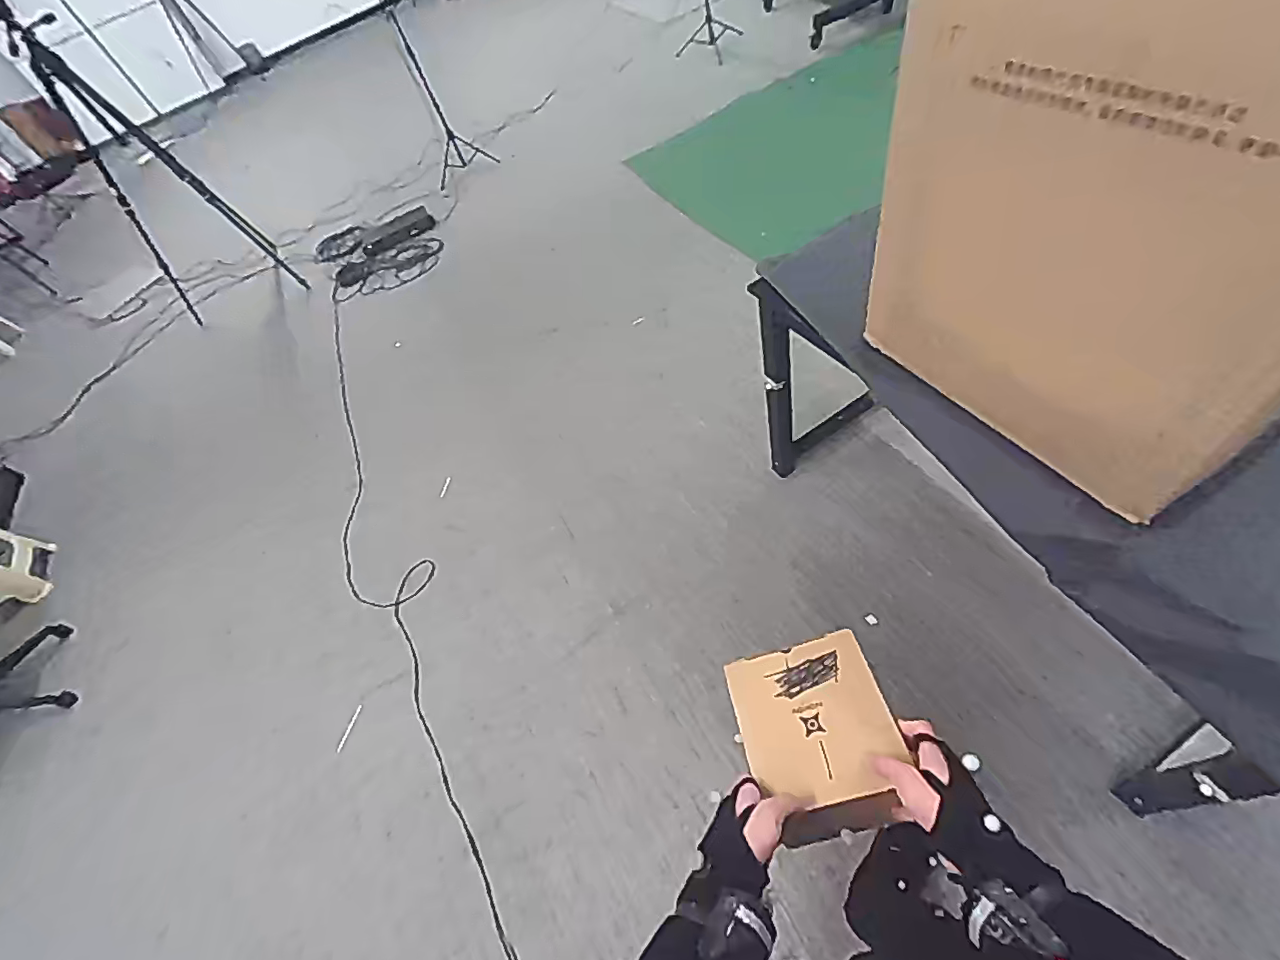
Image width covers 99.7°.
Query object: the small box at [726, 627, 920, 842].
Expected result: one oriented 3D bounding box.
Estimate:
[{"bbox_3d":[0.220,0.316,0.669,0.168,0.176,0.179,-20,44,8],"label":"small box"}]
